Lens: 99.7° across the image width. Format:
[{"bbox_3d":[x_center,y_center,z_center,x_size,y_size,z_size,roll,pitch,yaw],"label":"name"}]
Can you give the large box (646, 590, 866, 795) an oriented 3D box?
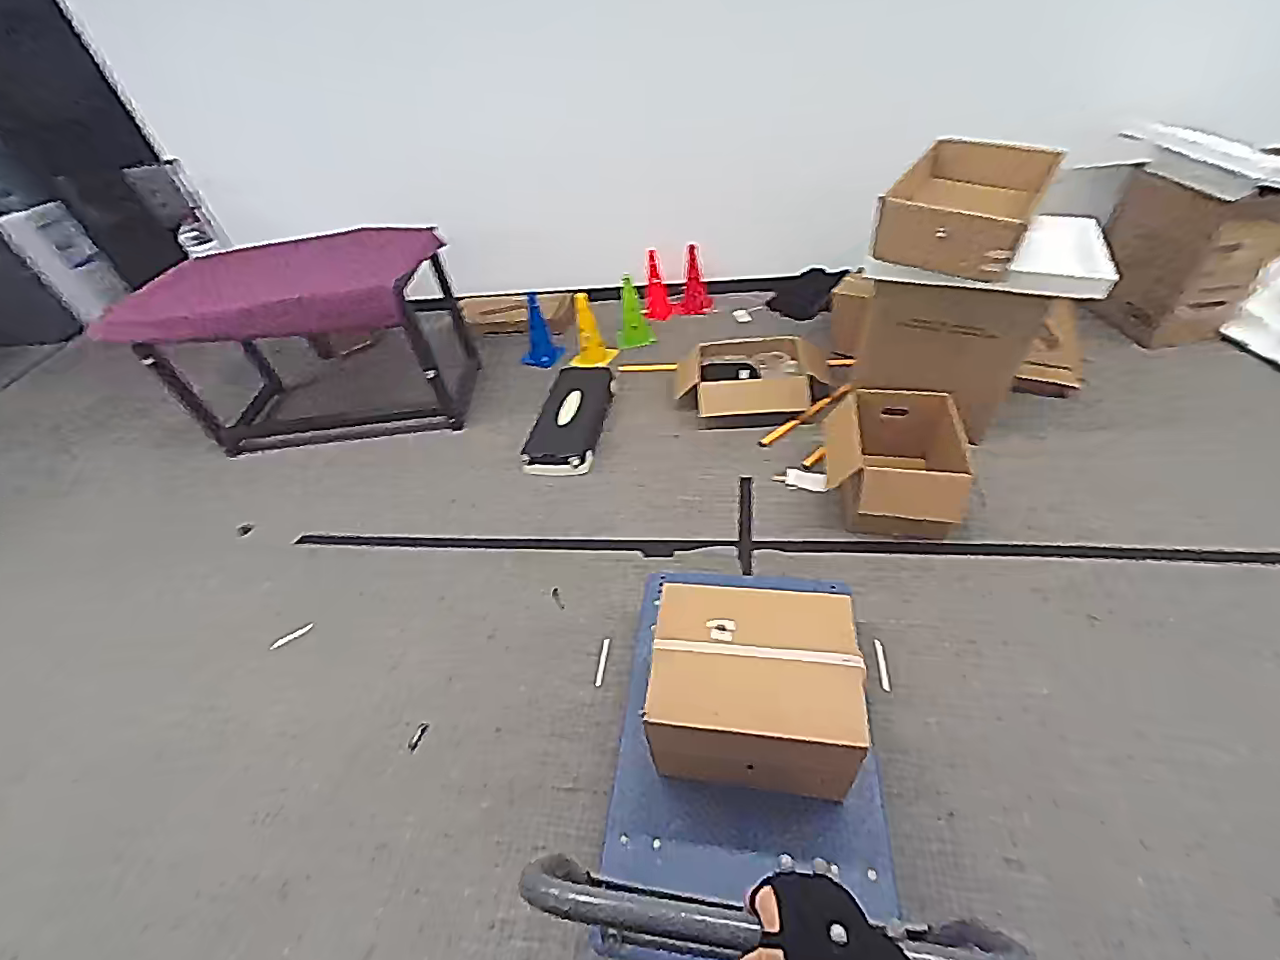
[{"bbox_3d":[0.247,0.465,1.193,0.408,0.320,0.320,1,44,12],"label":"large box"}]
